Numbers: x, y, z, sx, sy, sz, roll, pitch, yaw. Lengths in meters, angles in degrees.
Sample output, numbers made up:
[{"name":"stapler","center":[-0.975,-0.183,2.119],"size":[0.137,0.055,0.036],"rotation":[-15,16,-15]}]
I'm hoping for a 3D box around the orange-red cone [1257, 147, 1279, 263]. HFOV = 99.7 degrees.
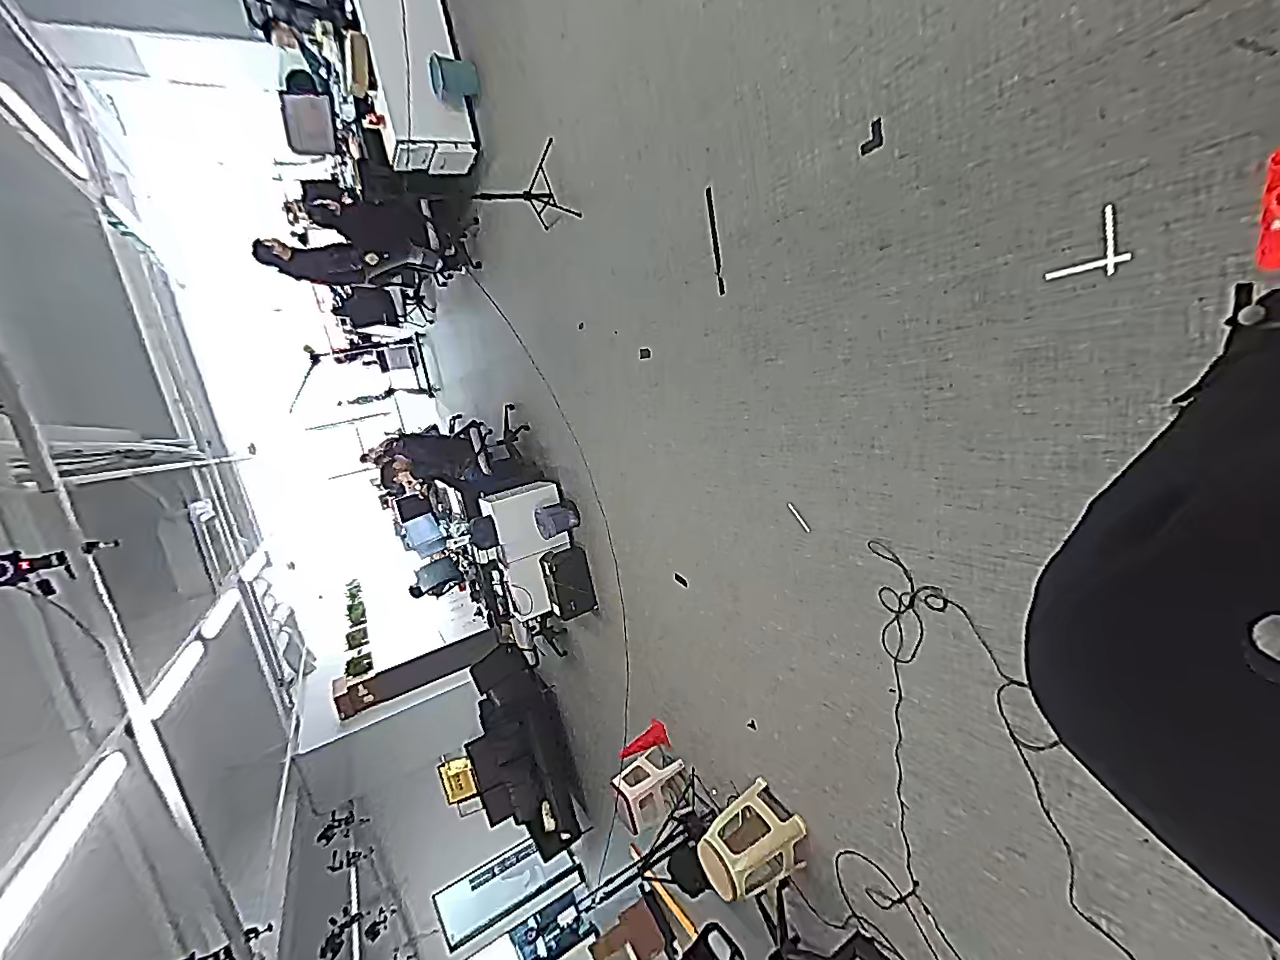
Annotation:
[{"name":"orange-red cone","center":[0.972,-0.413,0.767],"size":[0.199,0.360,0.198],"rotation":[19,120,59]}]
